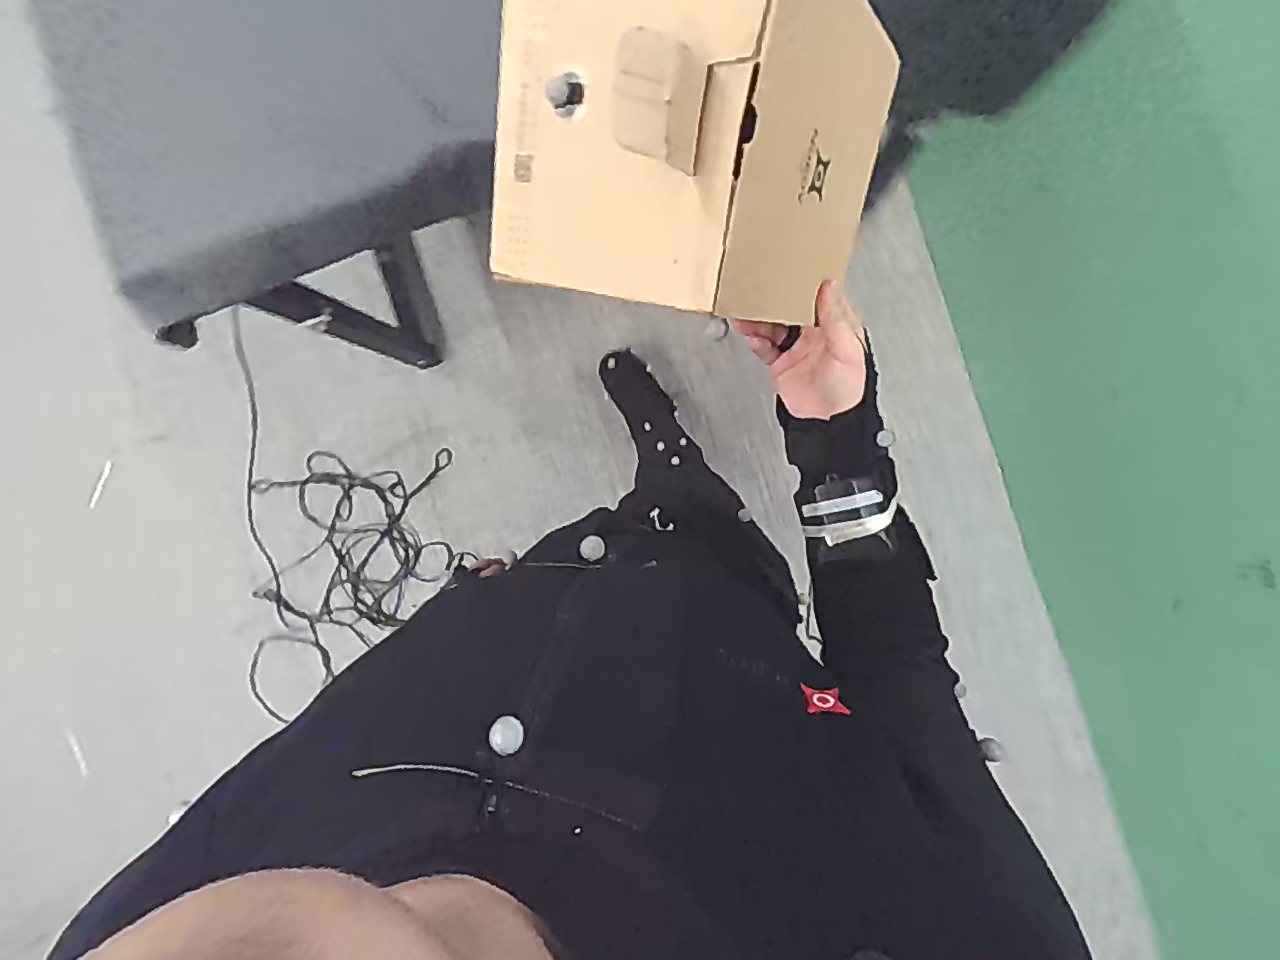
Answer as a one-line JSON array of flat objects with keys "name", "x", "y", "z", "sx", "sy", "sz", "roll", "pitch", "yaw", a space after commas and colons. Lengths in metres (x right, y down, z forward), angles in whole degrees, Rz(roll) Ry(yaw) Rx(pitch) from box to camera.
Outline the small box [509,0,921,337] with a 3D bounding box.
[{"name": "small box", "x": 0.046, "y": -0.191, "z": 0.337, "sx": 0.176, "sy": 0.179, "sz": 0.168, "roll": 23, "pitch": 114, "yaw": 31}]
